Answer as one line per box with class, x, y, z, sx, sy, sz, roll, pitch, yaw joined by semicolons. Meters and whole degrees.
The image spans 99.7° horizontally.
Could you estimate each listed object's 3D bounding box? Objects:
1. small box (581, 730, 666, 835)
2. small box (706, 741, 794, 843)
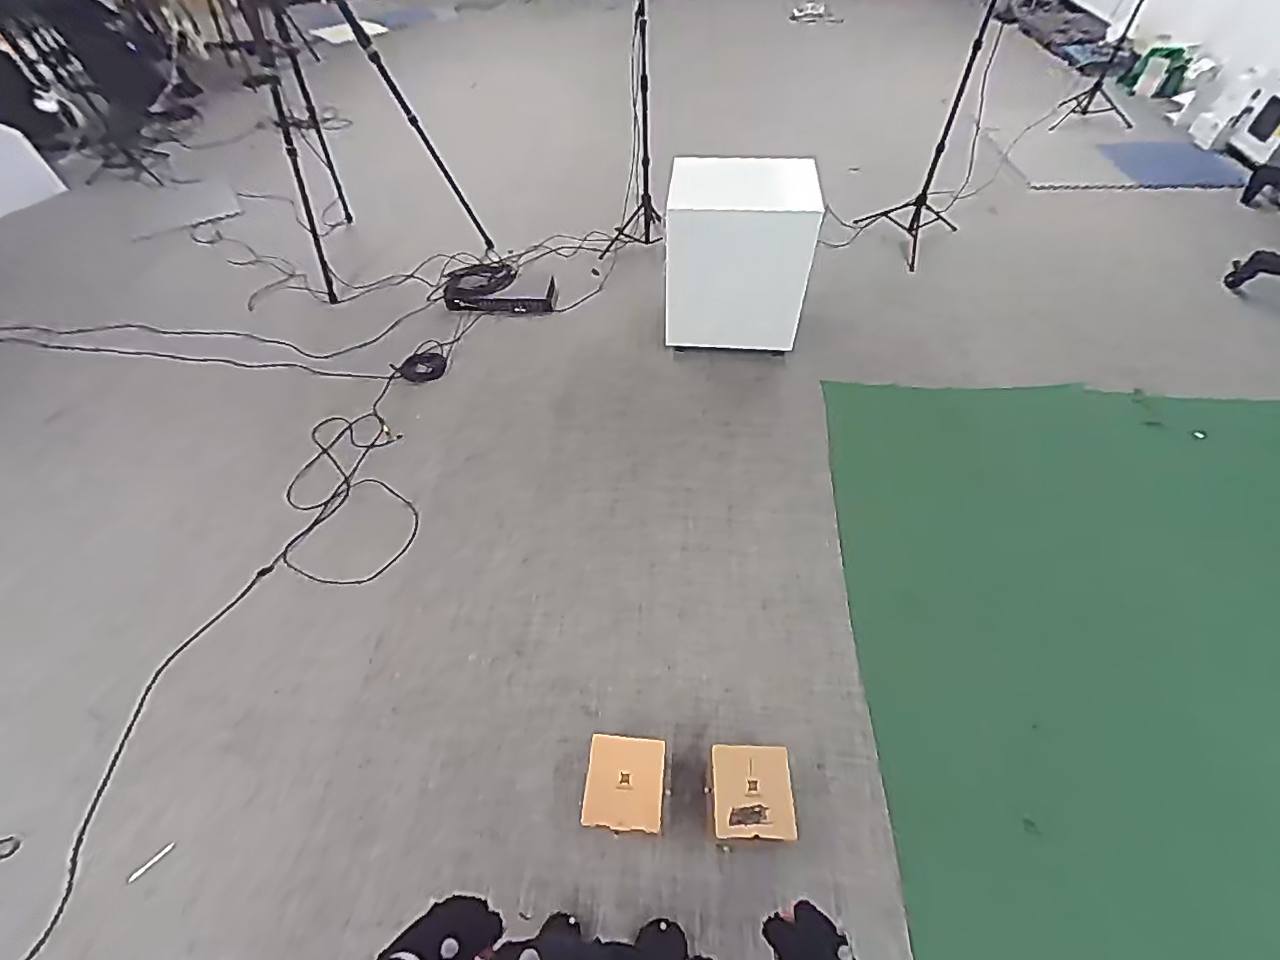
small box;-0.032;0.684;1.219;0.168;0.176;0.179;3;53;5
small box;0.236;0.694;1.199;0.168;0.176;0.179;1;52;3
